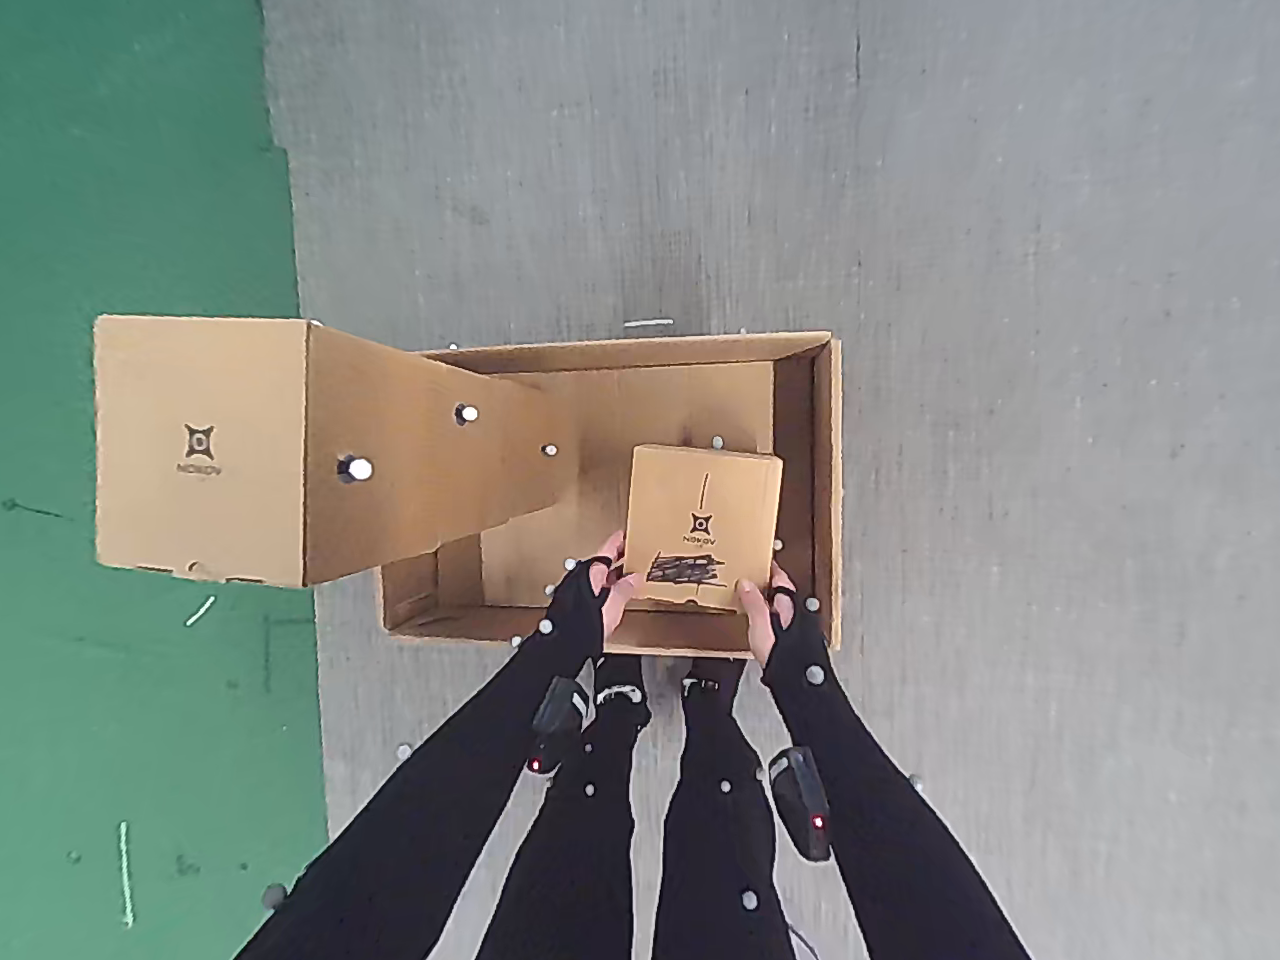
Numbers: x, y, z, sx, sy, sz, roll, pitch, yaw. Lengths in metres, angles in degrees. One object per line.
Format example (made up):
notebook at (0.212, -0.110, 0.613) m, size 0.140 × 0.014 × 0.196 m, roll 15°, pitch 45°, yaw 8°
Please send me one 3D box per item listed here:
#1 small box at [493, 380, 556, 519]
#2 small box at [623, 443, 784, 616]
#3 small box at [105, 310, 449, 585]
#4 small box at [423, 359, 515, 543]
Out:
small box at (-0.223, -0.042, 0.763) m, size 0.168 × 0.176 × 0.179 m, roll 1°, pitch 93°, yaw 9°
small box at (0.082, 0.049, 0.683) m, size 0.168 × 0.176 × 0.179 m, roll 7°, pitch 96°, yaw 9°
small box at (-0.272, -0.027, 0.441) m, size 0.168 × 0.176 × 0.179 m, roll 5°, pitch 94°, yaw 9°
small box at (-0.249, -0.034, 0.601) m, size 0.168 × 0.176 × 0.179 m, roll 3°, pitch 94°, yaw 10°
